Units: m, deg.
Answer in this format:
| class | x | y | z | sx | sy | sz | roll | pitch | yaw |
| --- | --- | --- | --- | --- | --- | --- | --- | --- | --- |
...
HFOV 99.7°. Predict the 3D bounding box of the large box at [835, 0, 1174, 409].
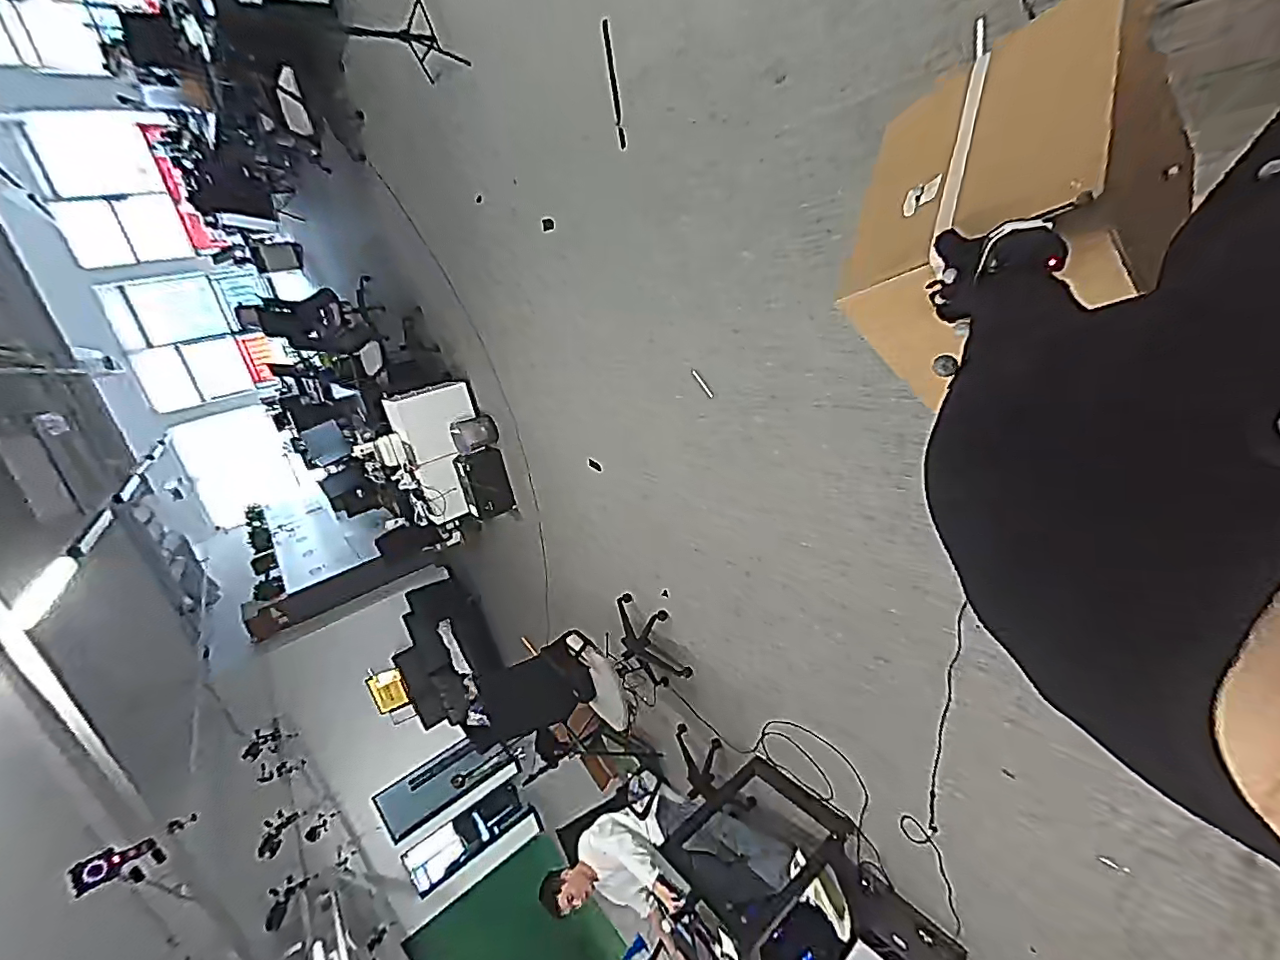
| class | x | y | z | sx | sy | sz | roll | pitch | yaw |
| --- | --- | --- | --- | --- | --- | --- | --- | --- | --- |
| large box | 0.552 | -0.374 | 0.812 | 0.320 | 0.408 | 0.320 | 33 | 159 | -28 |
